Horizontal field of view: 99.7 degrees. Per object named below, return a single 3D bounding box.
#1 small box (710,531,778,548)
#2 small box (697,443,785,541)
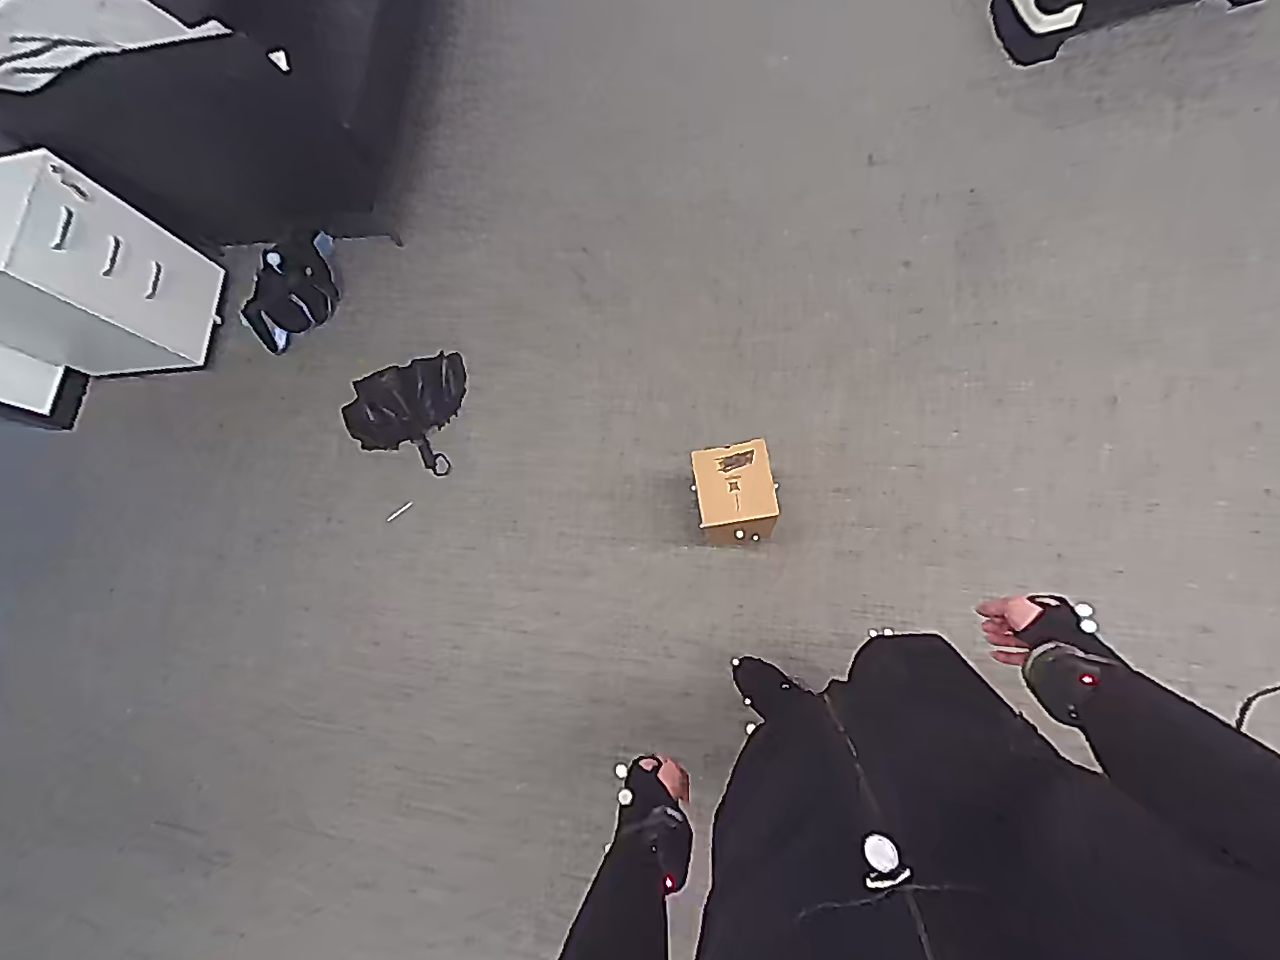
[{"bbox_3d":[0.259,0.073,1.396,0.168,0.176,0.179,-12,72,9],"label":"small box"},{"bbox_3d":[0.229,0.034,1.238,0.168,0.176,0.179,-11,75,10],"label":"small box"}]
